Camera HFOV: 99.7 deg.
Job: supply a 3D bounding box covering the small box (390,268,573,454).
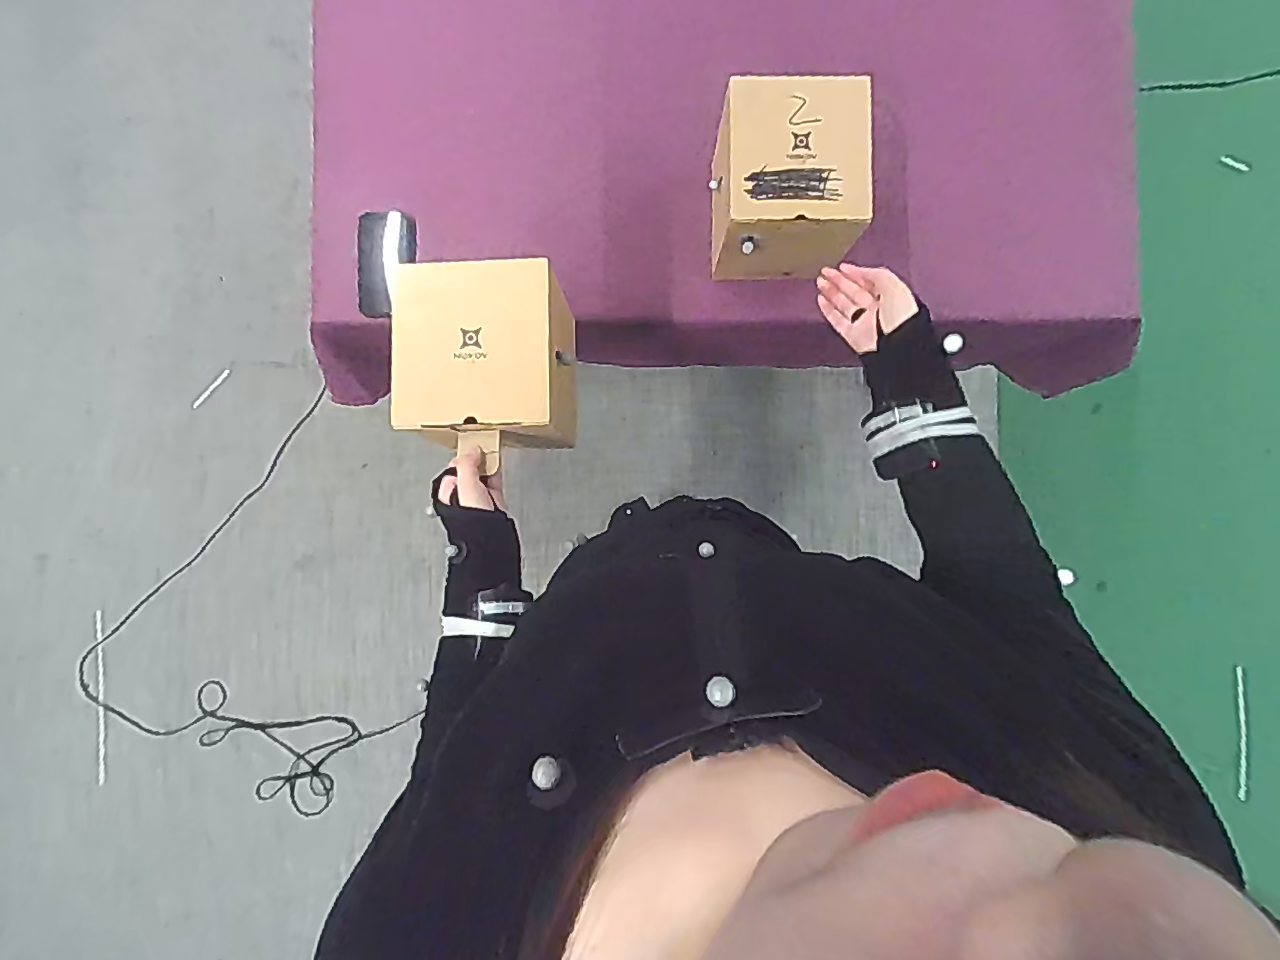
[{"bbox_3d":[-0.175,-0.129,0.641,0.168,0.176,0.179,-1,86,2],"label":"small box"}]
